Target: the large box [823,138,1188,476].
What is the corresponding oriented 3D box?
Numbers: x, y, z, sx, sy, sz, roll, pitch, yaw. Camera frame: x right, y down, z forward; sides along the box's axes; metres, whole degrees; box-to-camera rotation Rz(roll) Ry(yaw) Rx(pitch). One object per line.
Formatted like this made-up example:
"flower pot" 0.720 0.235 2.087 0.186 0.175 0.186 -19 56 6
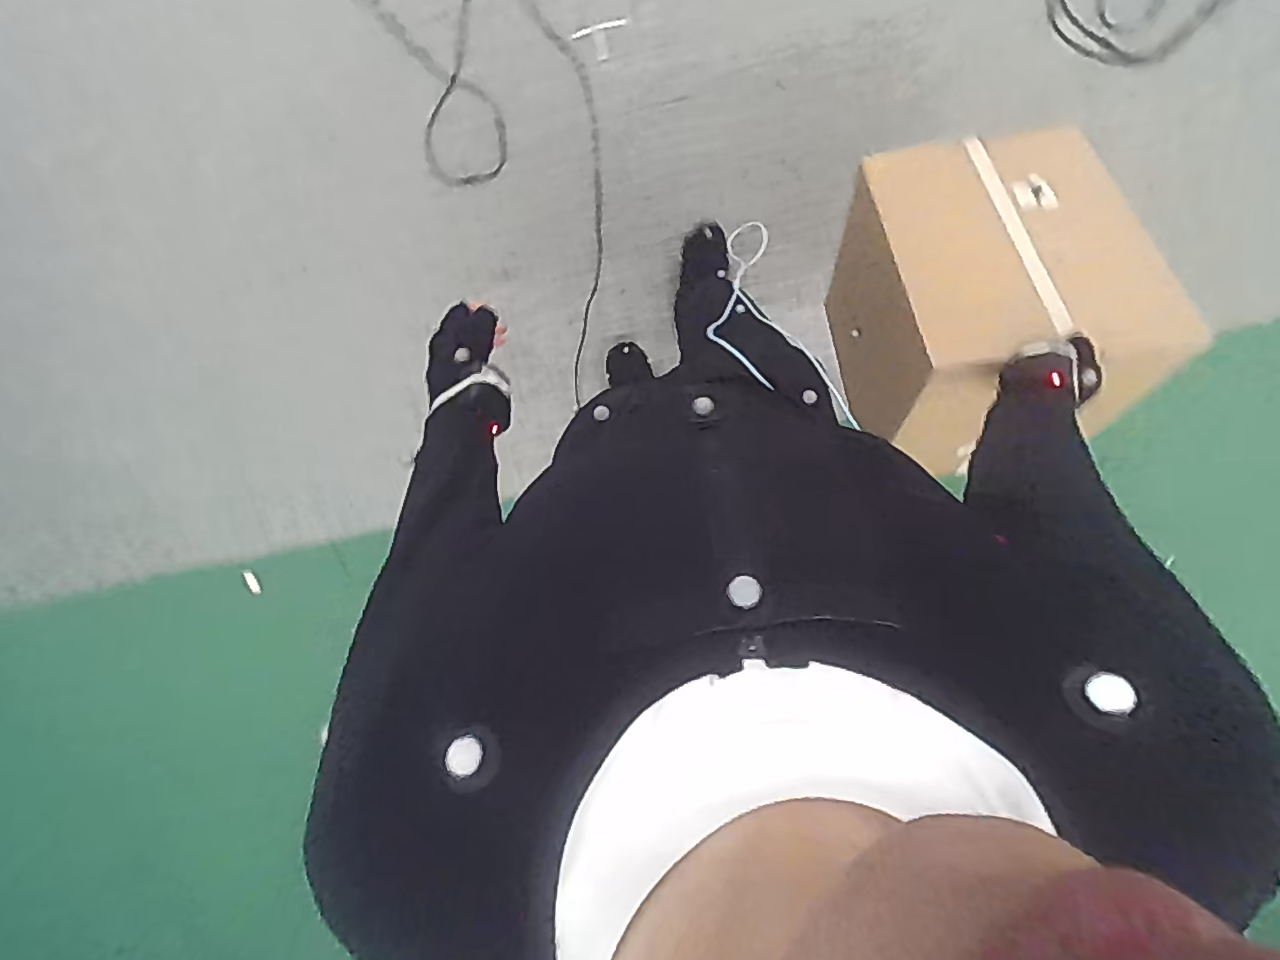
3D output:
"large box" 0.512 -0.262 0.876 0.320 0.320 0.408 -6 62 5
